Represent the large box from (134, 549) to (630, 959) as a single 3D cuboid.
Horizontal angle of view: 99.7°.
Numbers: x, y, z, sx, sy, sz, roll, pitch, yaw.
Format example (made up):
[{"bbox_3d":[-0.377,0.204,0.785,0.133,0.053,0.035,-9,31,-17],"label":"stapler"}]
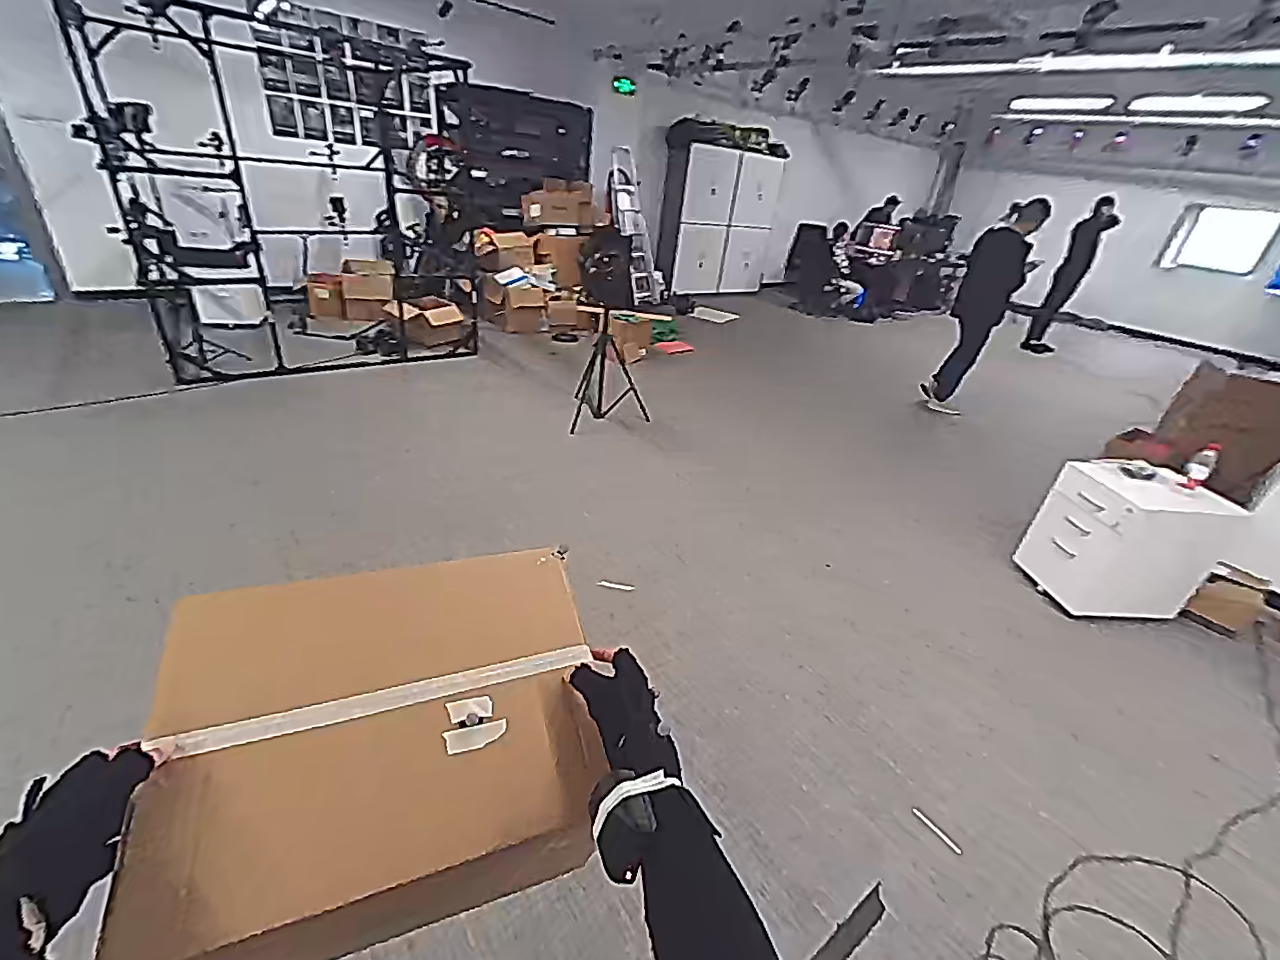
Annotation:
[{"bbox_3d":[-0.273,0.322,0.661,0.408,0.320,0.320,-5,48,-23],"label":"large box"}]
